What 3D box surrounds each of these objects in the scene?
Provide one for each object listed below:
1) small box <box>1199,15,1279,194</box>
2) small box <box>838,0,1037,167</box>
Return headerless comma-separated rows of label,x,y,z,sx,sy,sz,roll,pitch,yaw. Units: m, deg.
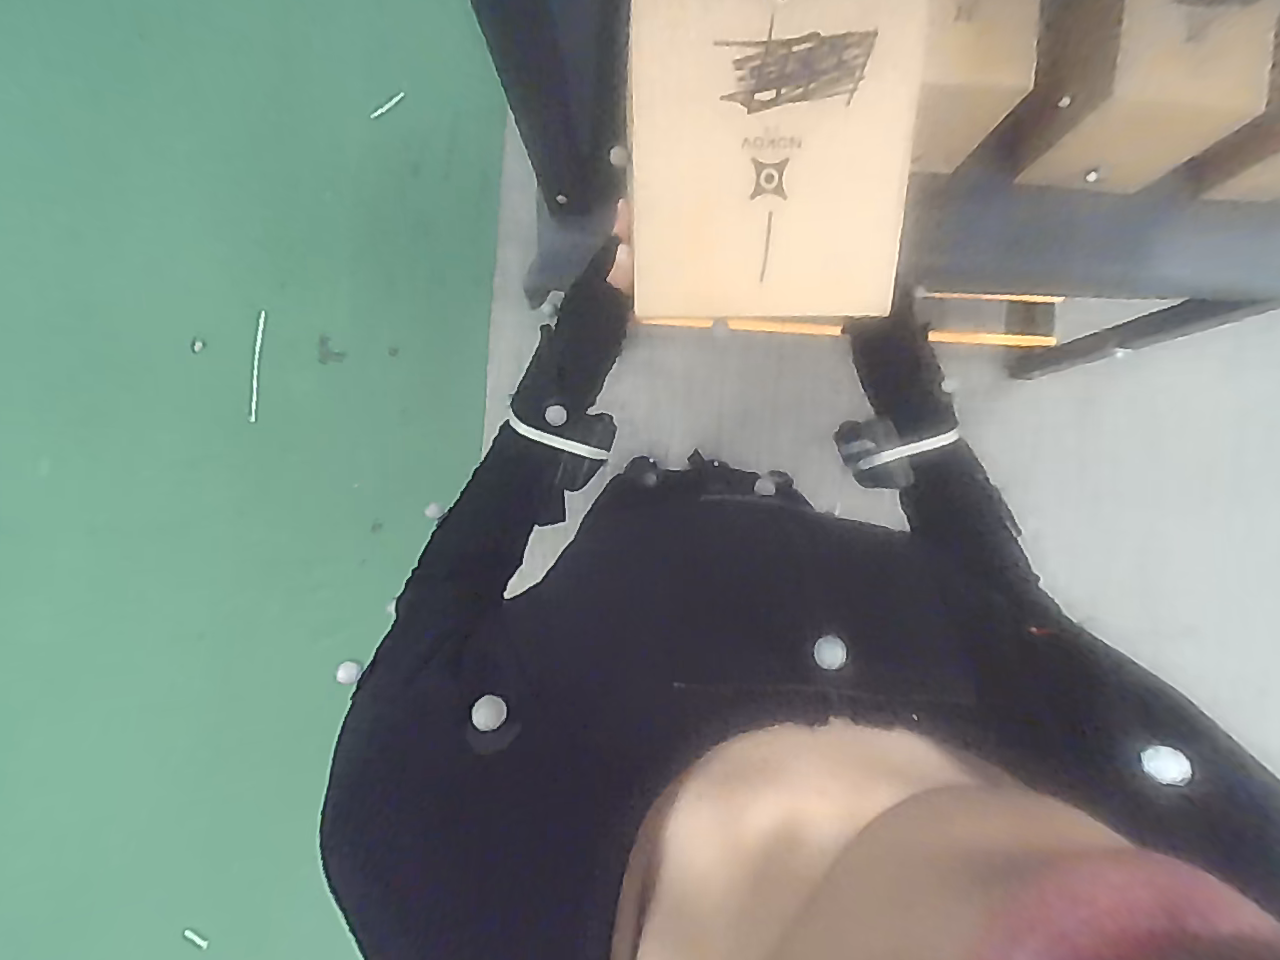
small box,0.851,-0.475,0.664,0.168,0.176,0.179,4,88,1
small box,0.360,-0.526,0.681,0.168,0.176,0.179,4,89,1
